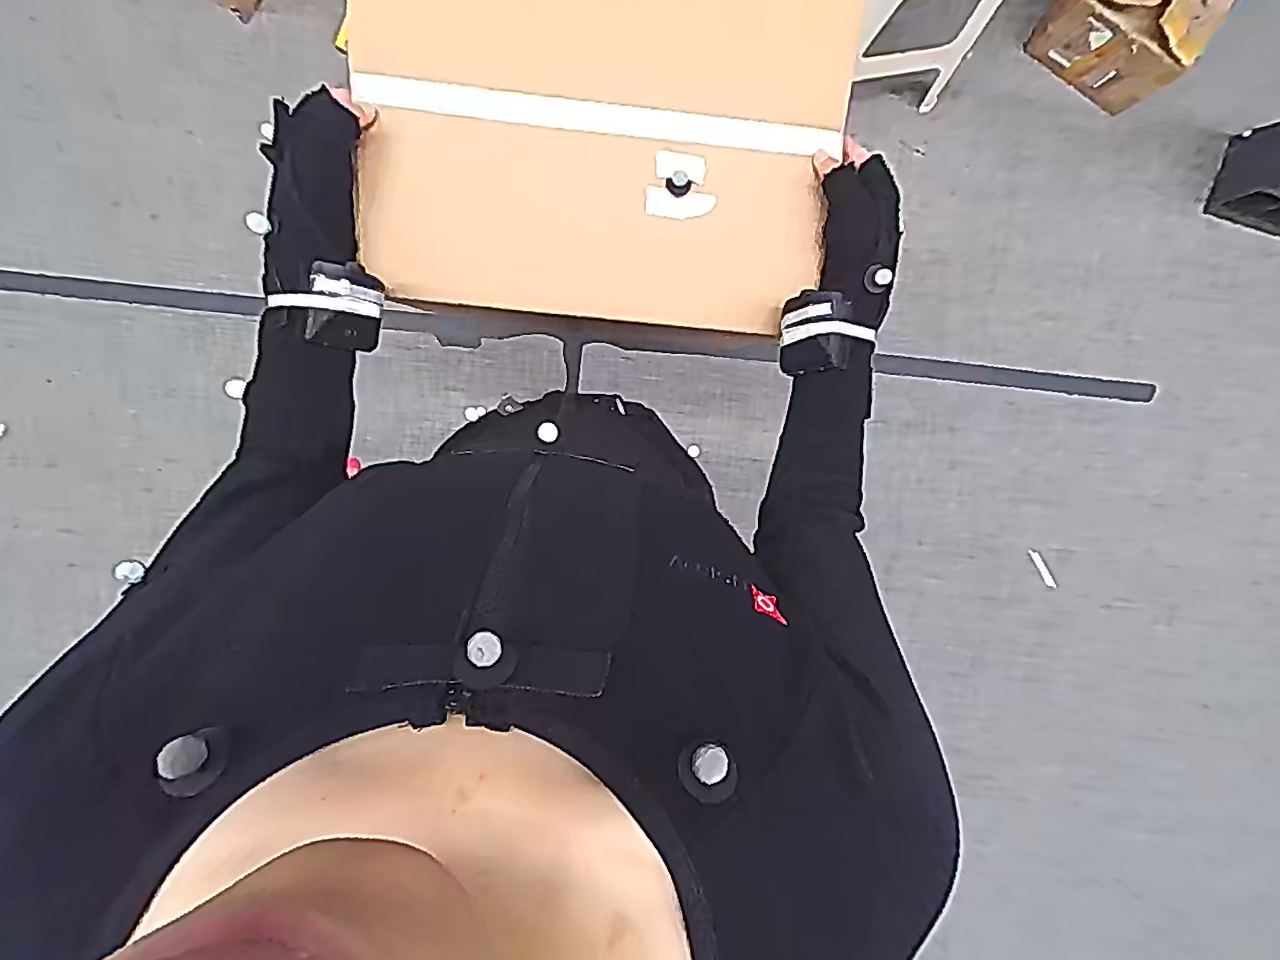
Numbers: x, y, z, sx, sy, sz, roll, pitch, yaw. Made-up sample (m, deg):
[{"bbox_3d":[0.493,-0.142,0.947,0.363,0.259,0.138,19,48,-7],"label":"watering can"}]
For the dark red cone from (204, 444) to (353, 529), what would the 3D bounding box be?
[{"bbox_3d":[-0.854,0.037,1.258,0.201,0.394,0.202,12,97,-4],"label":"dark red cone"}]

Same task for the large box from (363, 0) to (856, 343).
[{"bbox_3d":[-0.039,-0.331,0.600,0.408,0.320,0.320,4,102,-5],"label":"large box"}]
